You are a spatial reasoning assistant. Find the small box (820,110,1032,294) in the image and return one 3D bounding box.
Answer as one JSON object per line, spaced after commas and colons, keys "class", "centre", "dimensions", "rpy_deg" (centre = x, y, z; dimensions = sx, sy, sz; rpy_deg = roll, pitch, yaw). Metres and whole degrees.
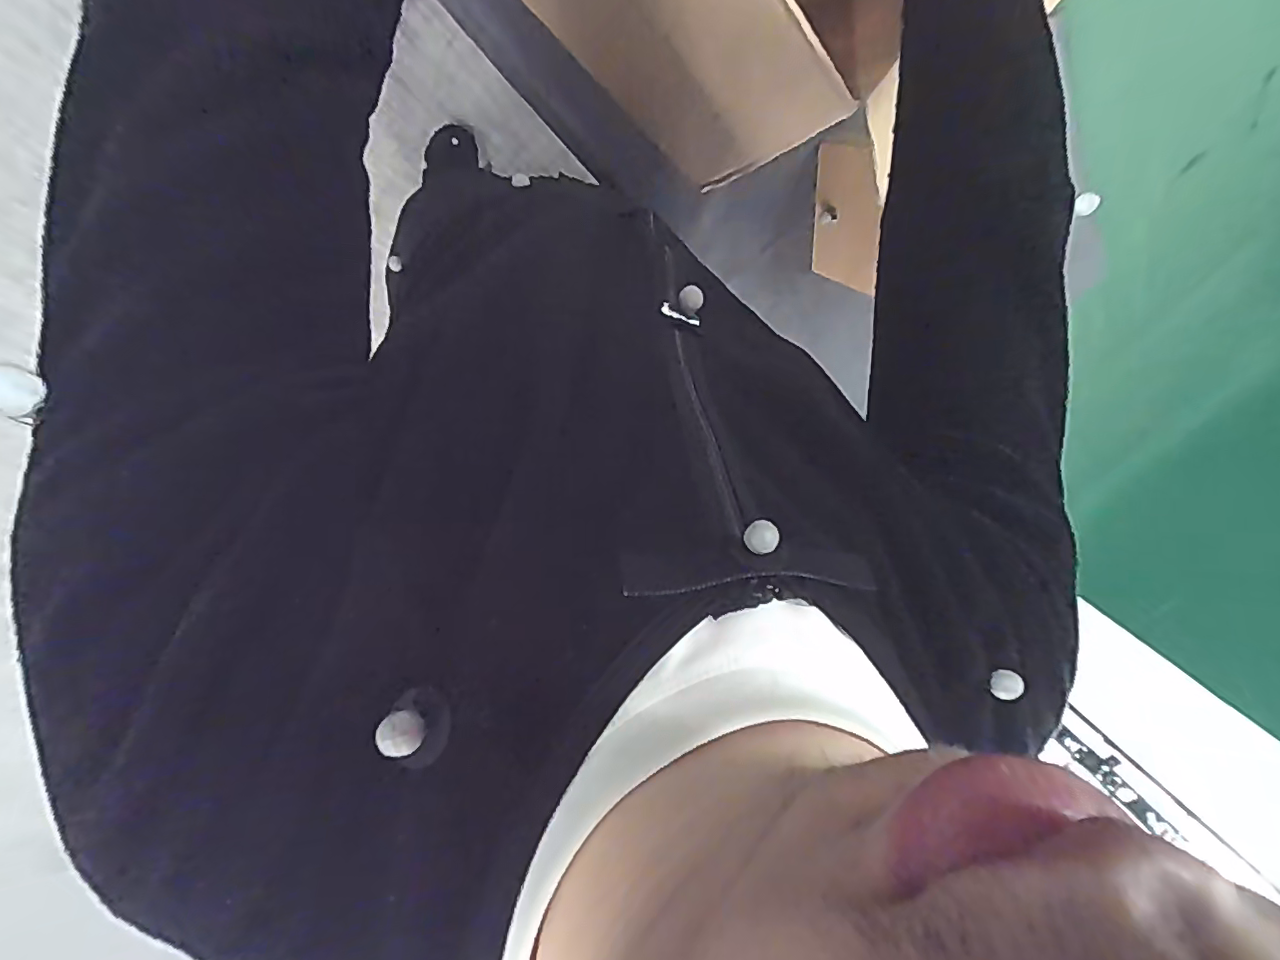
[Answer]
{"class": "small box", "centre": [0.360, -0.375, 0.722], "dimensions": [0.168, 0.176, 0.179], "rpy_deg": [-17, 129, -10]}
